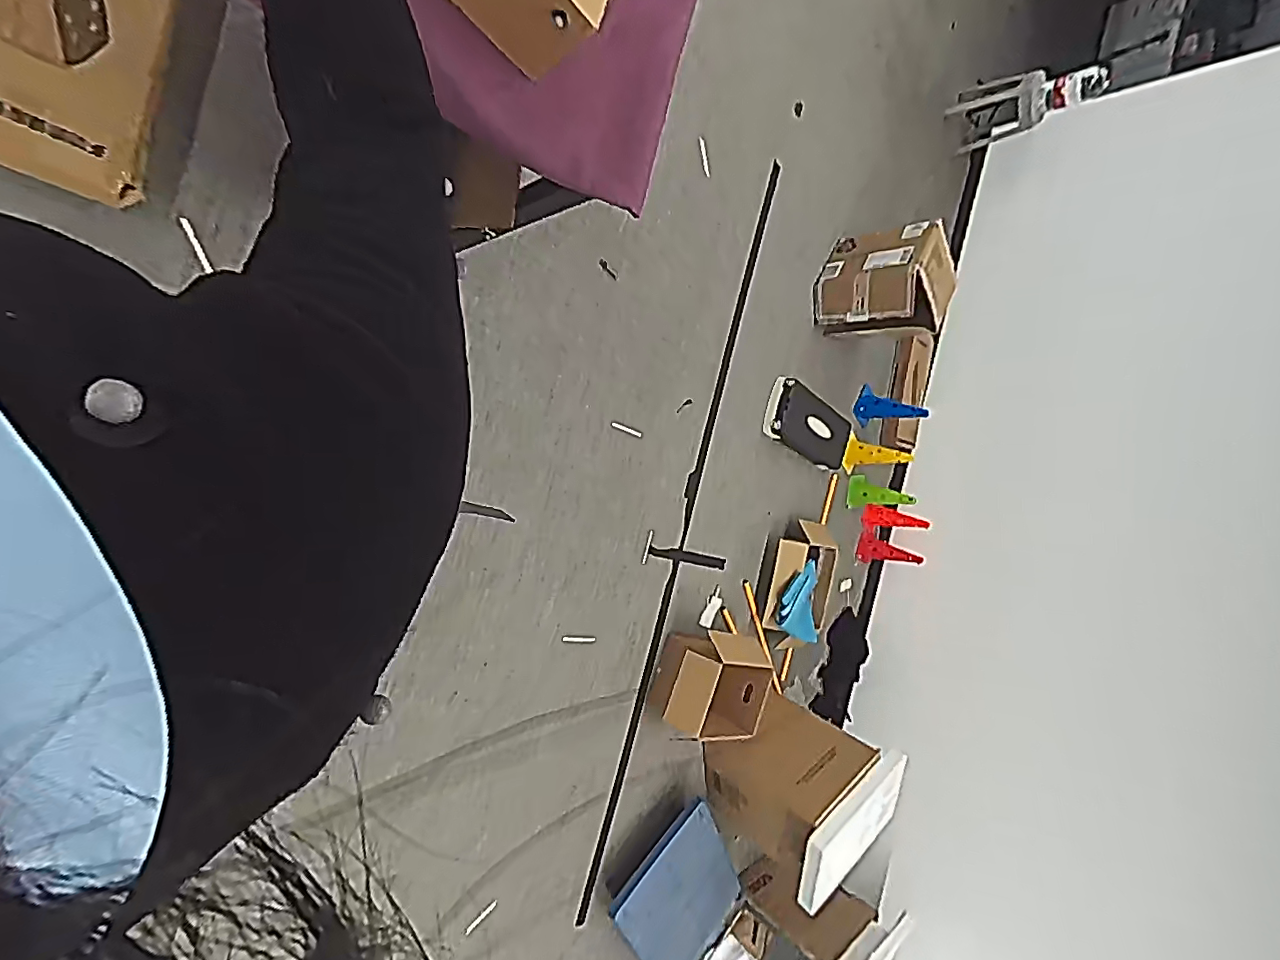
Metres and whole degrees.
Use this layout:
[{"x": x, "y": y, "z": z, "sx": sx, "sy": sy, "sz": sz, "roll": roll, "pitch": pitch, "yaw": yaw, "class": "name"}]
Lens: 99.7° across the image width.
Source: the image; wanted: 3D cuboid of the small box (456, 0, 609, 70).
[{"x": -0.140, "y": -0.690, "z": 0.700, "sx": 0.179, "sy": 0.176, "sz": 0.168, "roll": 24, "pitch": 82, "yaw": -43, "class": "small box"}]
